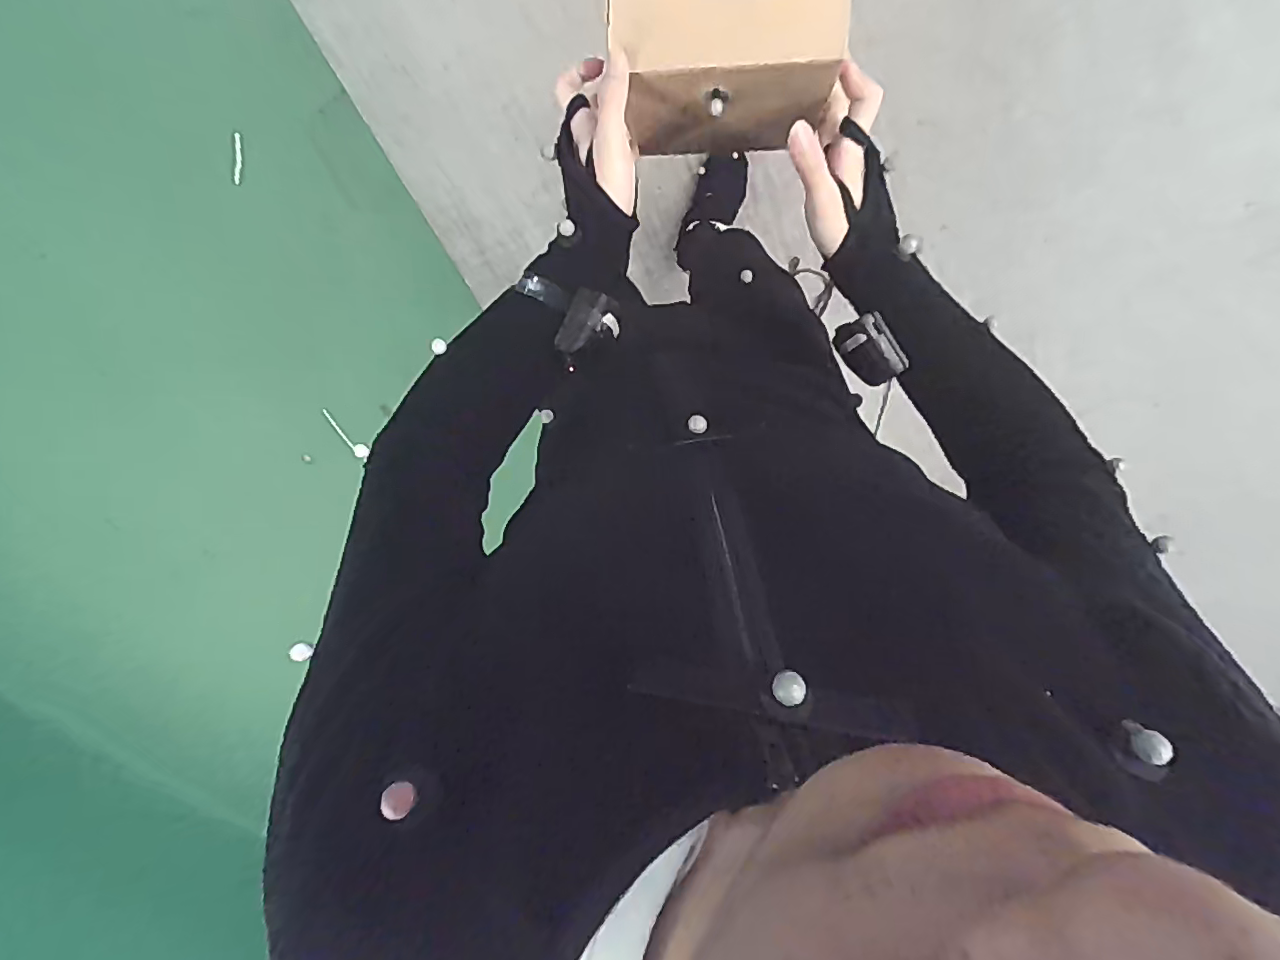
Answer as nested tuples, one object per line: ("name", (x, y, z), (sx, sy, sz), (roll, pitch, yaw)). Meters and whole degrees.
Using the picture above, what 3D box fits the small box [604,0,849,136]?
("small box", (0.073, -0.410, 0.450), (0.179, 0.176, 0.168), (2, 103, 8))
